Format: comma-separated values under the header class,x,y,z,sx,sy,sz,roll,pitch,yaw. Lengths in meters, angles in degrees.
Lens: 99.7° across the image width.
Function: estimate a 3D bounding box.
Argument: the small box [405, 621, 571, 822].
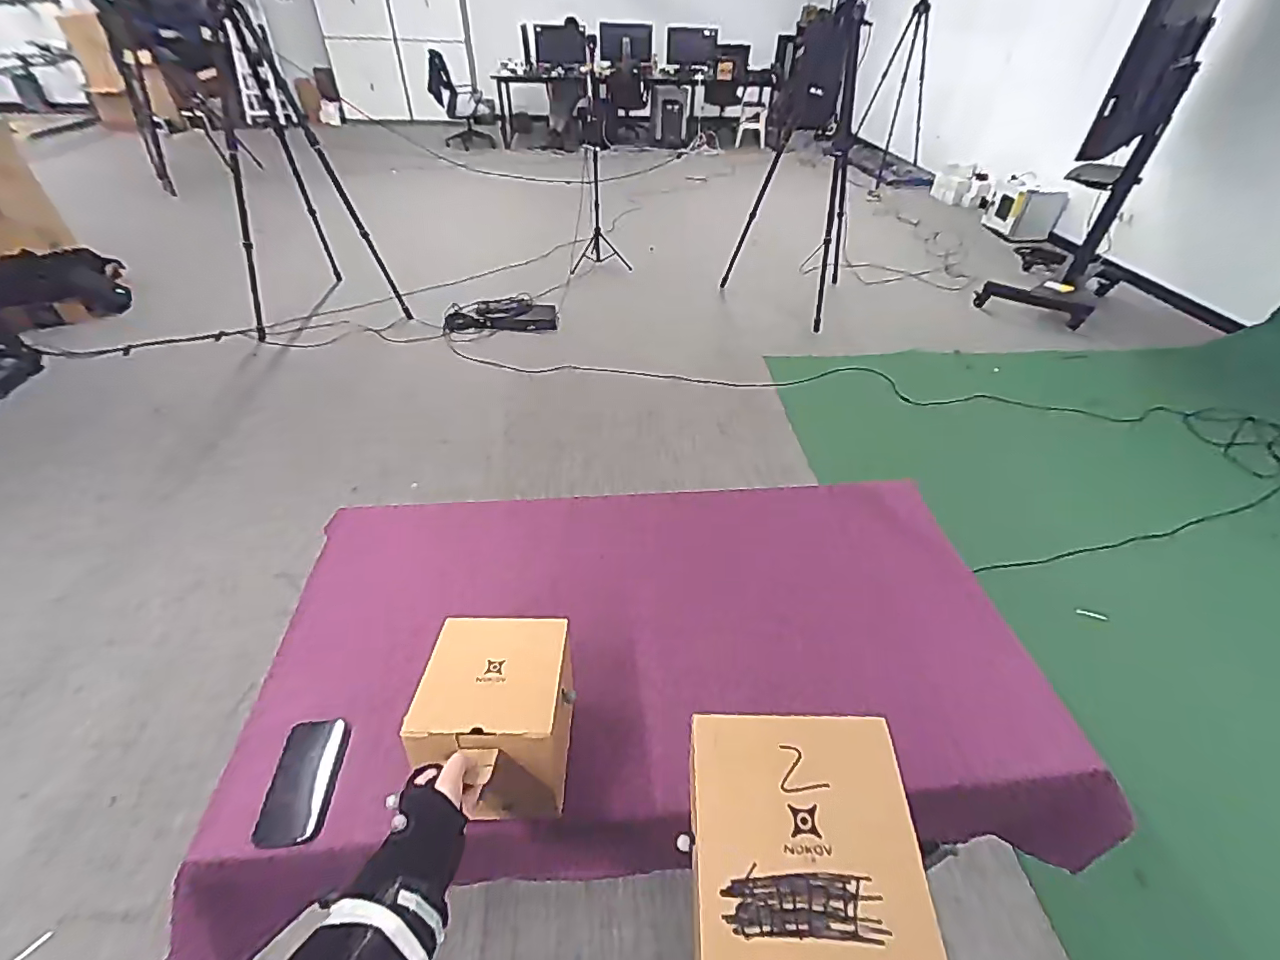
class,x,y,z,sx,sy,sz,roll,pitch,yaw
small box,-0.180,0.308,0.703,0.168,0.176,0.179,1,32,-1
